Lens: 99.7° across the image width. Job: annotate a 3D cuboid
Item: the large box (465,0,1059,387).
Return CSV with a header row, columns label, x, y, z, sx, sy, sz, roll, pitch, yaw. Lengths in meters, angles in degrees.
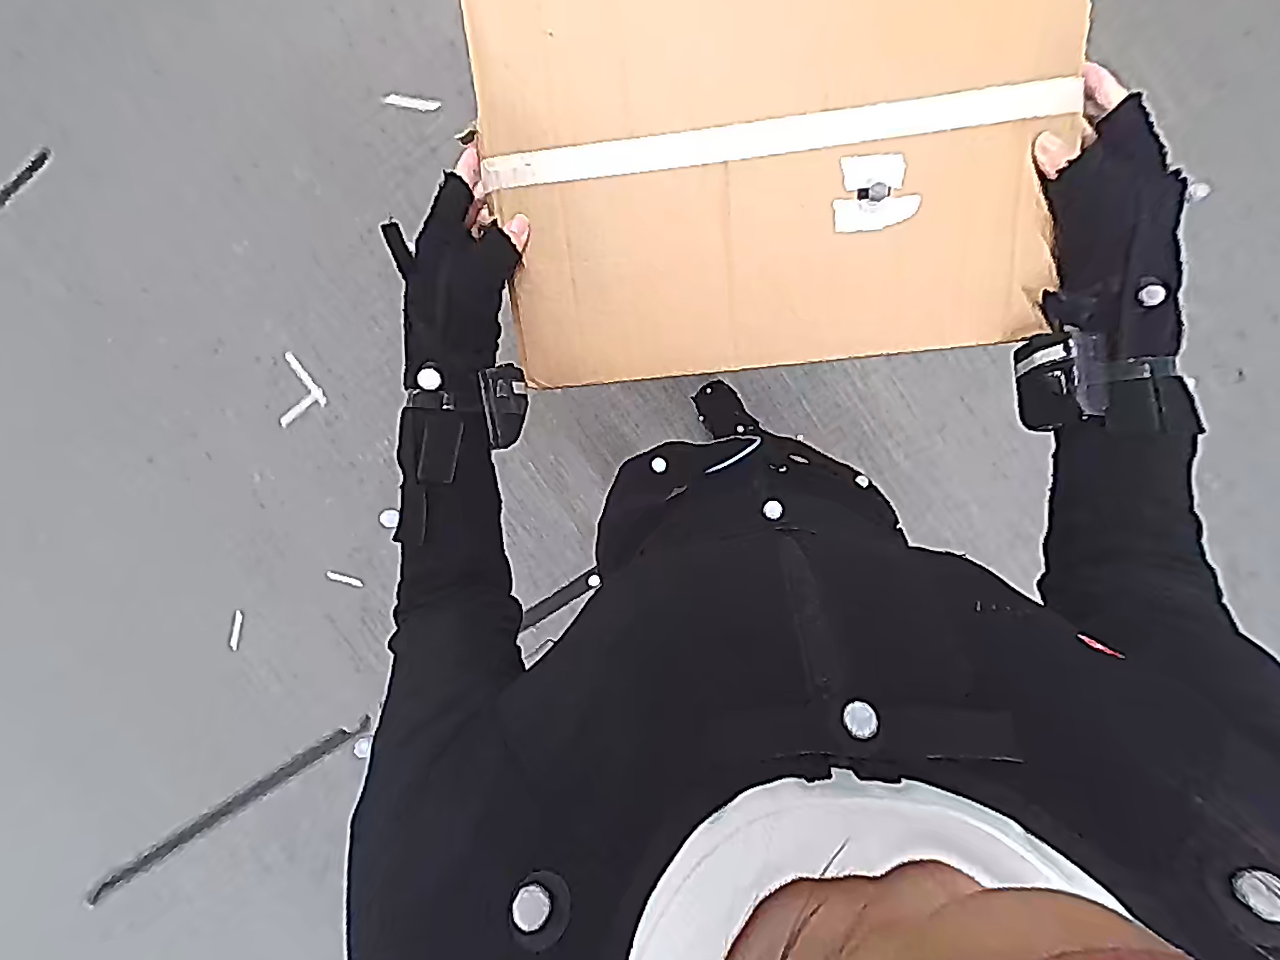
label,x,y,z,sx,sy,sz,roll,pitch,yaw
large box,0.093,-0.286,0.535,0.408,0.320,0.320,-6,106,4
